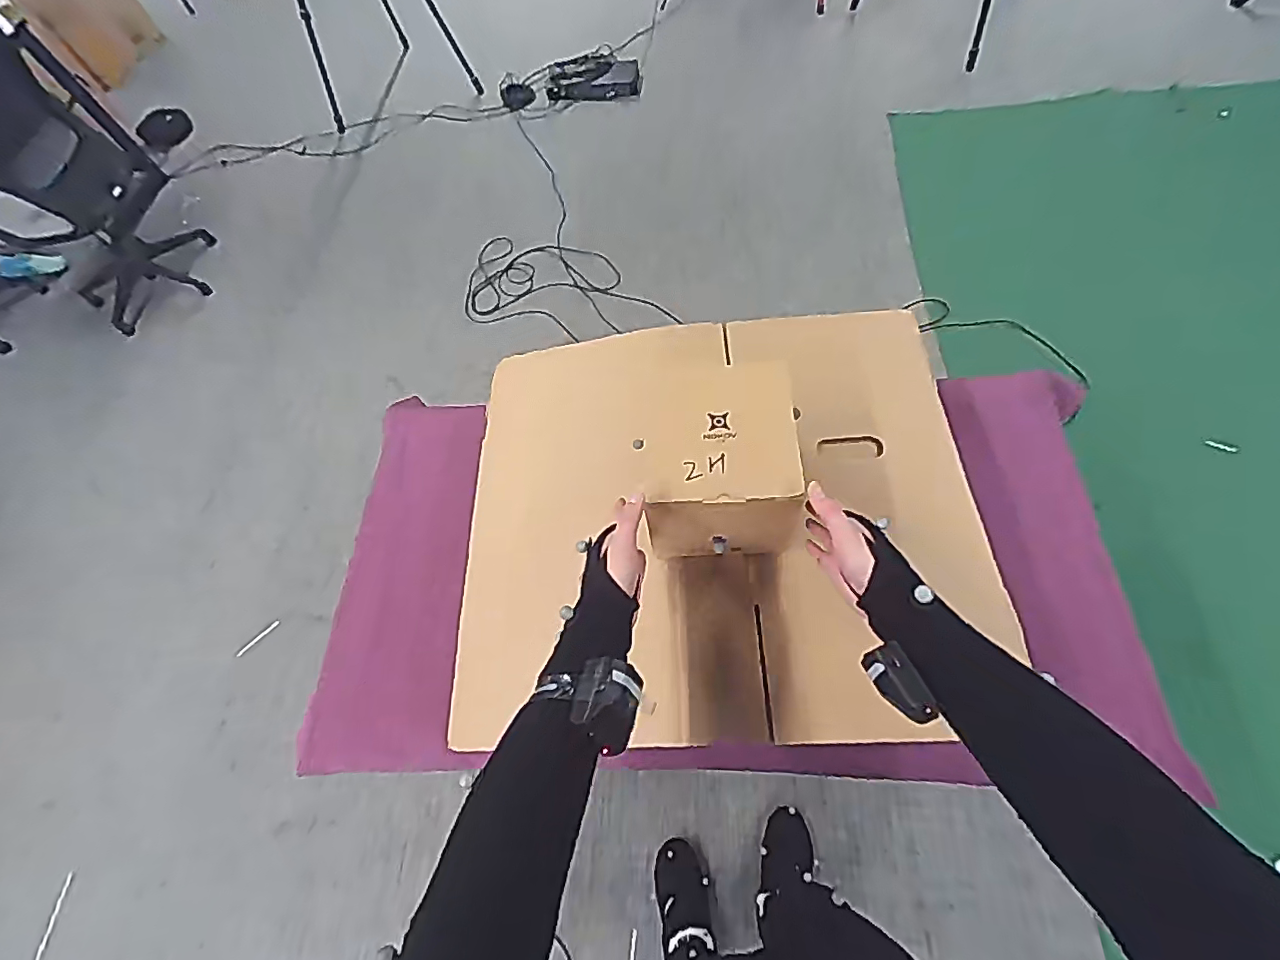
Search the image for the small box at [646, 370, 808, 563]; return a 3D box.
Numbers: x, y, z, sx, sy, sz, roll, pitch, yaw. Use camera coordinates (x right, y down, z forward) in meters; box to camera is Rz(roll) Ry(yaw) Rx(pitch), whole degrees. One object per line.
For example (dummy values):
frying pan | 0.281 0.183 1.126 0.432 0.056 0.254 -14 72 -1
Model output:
small box | 0.095 -0.010 0.654 0.168 0.176 0.179 -2 62 5
